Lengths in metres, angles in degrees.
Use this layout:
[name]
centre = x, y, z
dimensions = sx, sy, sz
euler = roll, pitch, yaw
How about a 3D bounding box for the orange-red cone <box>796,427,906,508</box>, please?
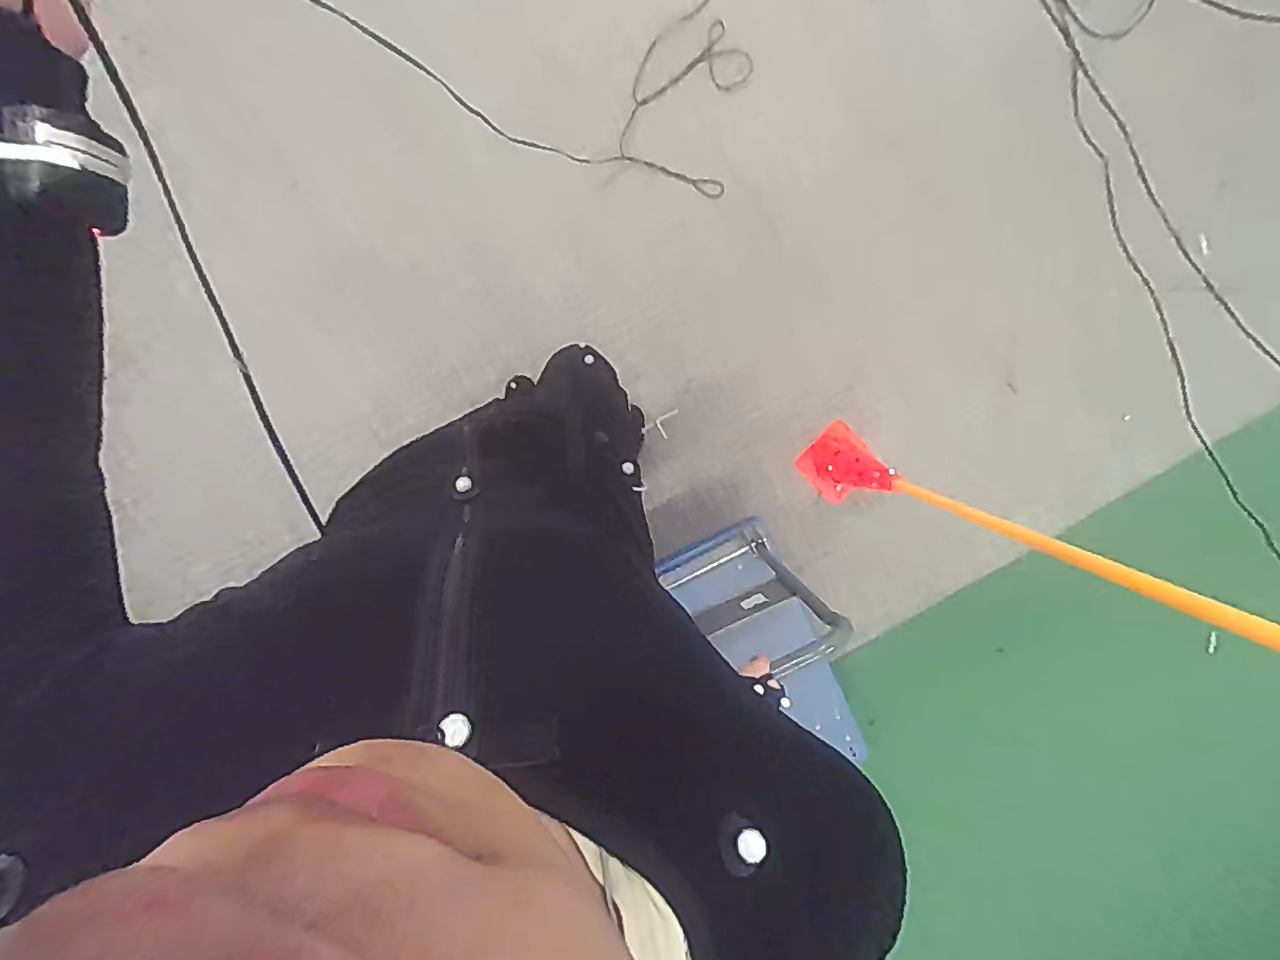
[orange-red cone]
centre = 0.619, -0.008, 1.495
dimensions = 0.199, 0.360, 0.198
euler = -44, 102, 3
